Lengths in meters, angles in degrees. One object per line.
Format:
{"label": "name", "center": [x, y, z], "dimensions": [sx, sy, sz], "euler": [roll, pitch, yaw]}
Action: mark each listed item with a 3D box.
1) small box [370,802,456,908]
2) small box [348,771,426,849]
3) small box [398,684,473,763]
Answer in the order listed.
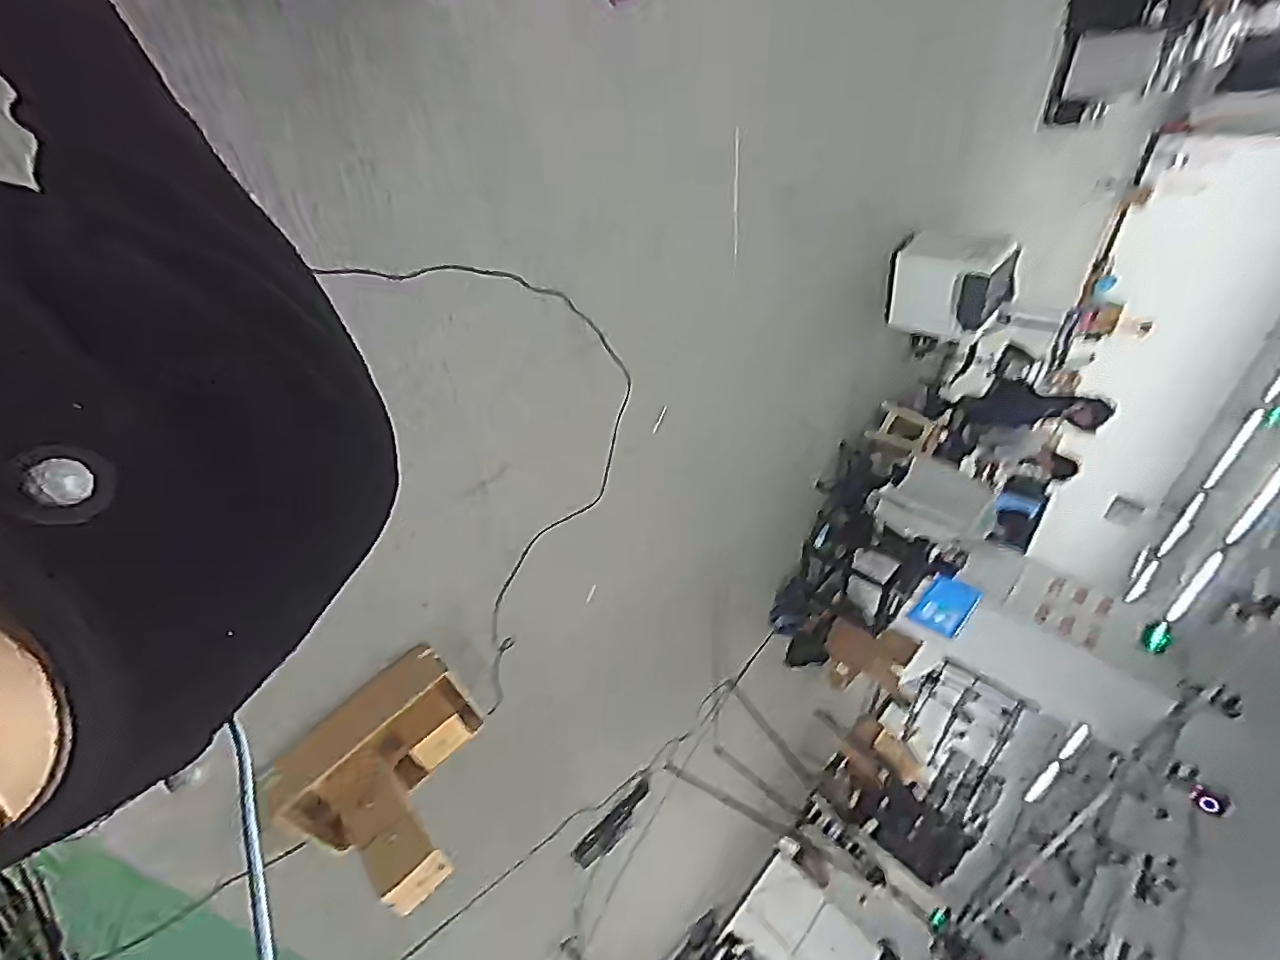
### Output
{"label": "small box", "center": [-0.708, 1.154, 1.672], "dimensions": [0.179, 0.176, 0.168], "euler": [-34, 135, -31]}
{"label": "small box", "center": [-0.822, 1.102, 1.781], "dimensions": [0.168, 0.176, 0.179], "euler": [-38, 136, -28]}
{"label": "small box", "center": [-0.756, 0.891, 1.993], "dimensions": [0.179, 0.176, 0.168], "euler": [-37, 135, -25]}
